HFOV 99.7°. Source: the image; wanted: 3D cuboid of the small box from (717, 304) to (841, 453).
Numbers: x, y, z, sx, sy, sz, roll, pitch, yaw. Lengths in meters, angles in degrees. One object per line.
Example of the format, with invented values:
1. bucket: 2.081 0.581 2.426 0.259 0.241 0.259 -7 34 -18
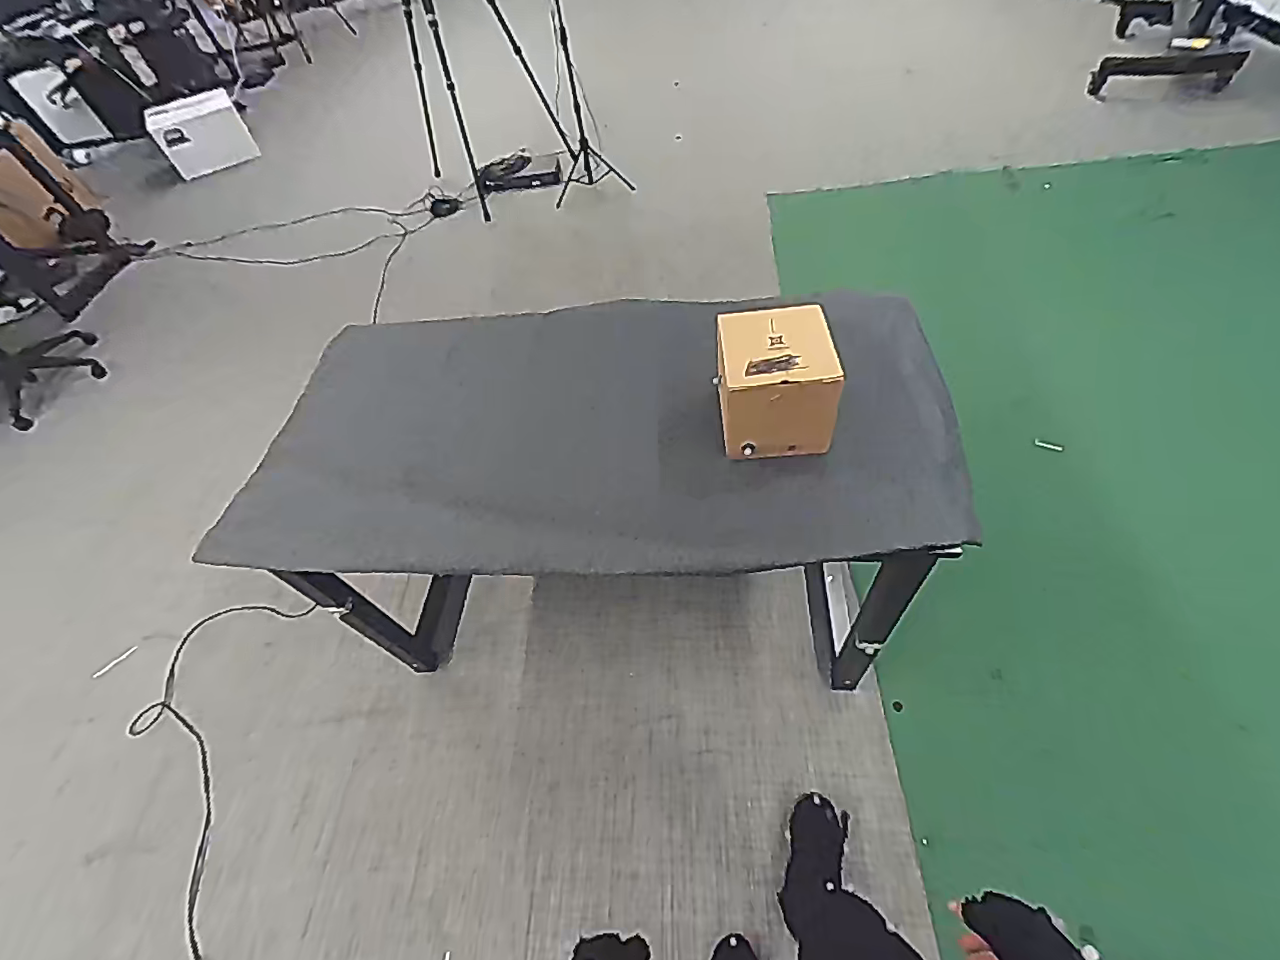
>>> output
1. small box: 0.215 -0.156 0.877 0.168 0.176 0.179 -4 52 6
